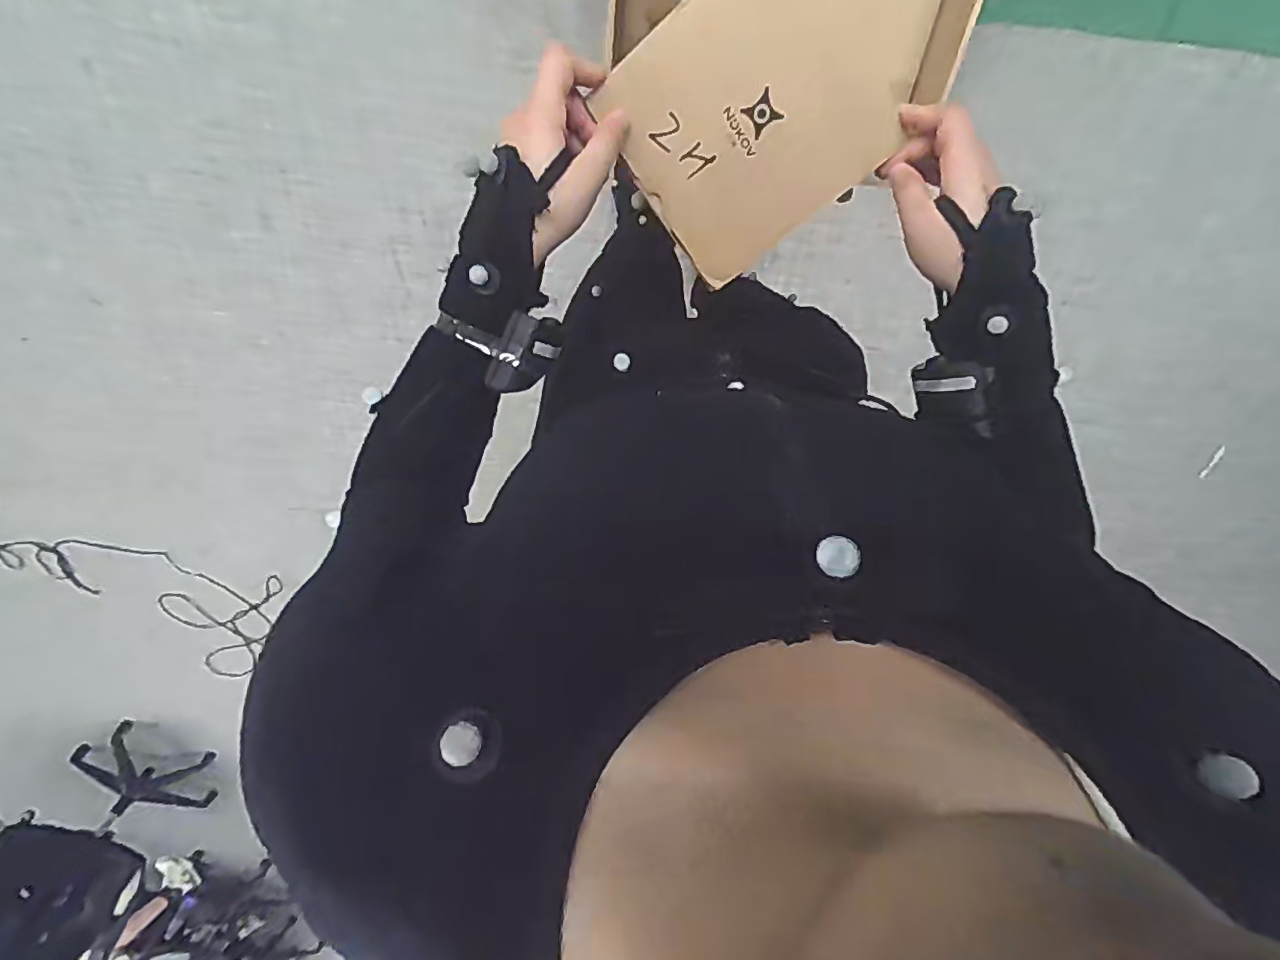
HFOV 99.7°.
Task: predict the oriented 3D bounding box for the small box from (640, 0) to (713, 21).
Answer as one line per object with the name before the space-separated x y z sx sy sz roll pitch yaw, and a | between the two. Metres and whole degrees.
small box | 0.092 -0.783 0.784 0.179 0.176 0.168 6 123 -3

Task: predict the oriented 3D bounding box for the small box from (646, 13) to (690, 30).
small box | 0.104 -0.879 0.917 0.168 0.176 0.179 6 123 -2

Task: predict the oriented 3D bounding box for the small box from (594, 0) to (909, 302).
small box | 0.079 -0.286 0.453 0.179 0.176 0.168 -34 116 18
